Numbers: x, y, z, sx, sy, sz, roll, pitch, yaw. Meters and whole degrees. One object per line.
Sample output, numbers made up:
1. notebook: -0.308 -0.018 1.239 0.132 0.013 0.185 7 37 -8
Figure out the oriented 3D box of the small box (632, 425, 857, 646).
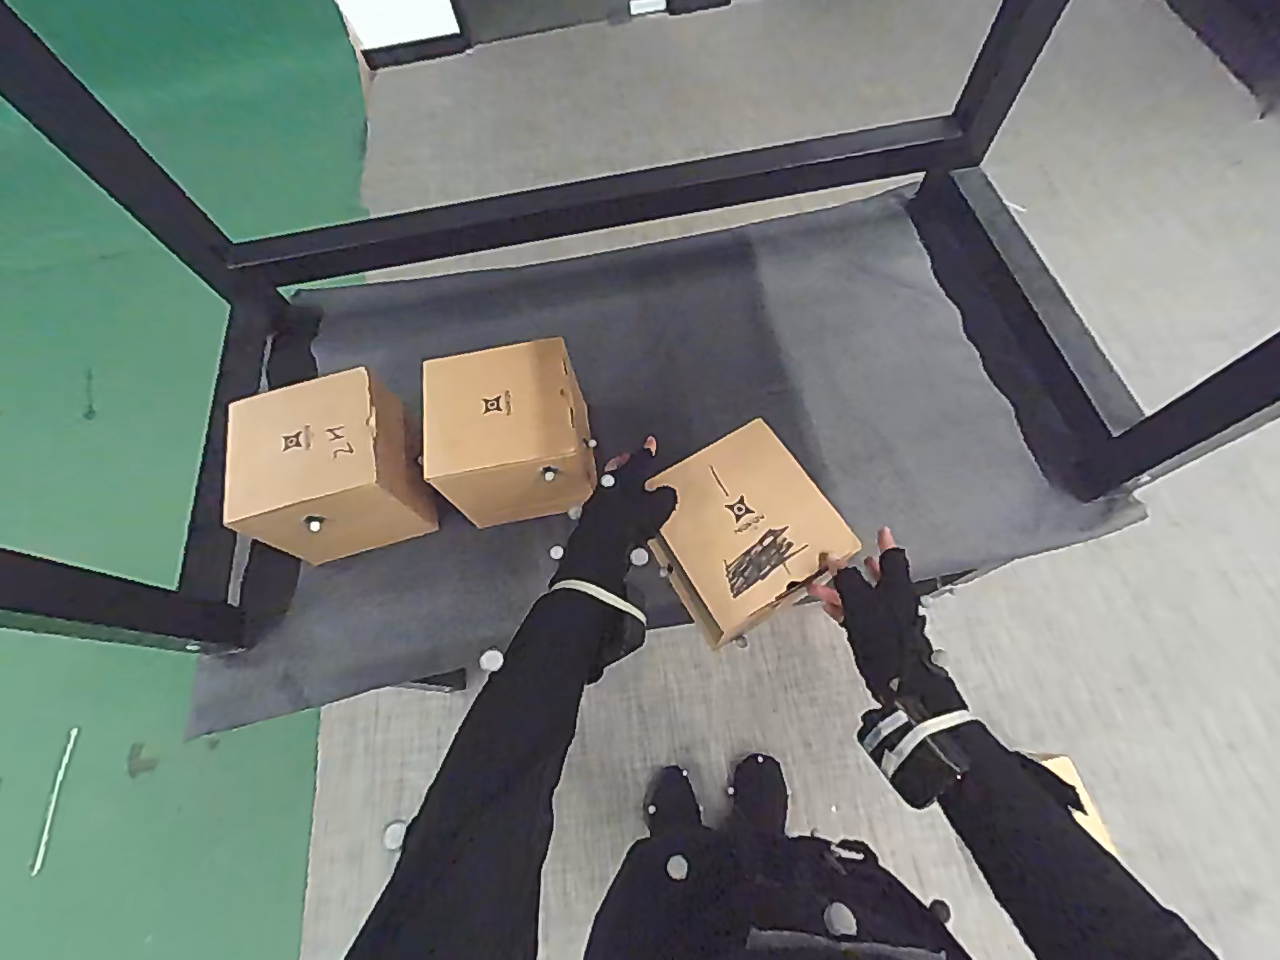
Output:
1. small box: 0.108 0.075 0.619 0.168 0.176 0.179 -29 67 -8
